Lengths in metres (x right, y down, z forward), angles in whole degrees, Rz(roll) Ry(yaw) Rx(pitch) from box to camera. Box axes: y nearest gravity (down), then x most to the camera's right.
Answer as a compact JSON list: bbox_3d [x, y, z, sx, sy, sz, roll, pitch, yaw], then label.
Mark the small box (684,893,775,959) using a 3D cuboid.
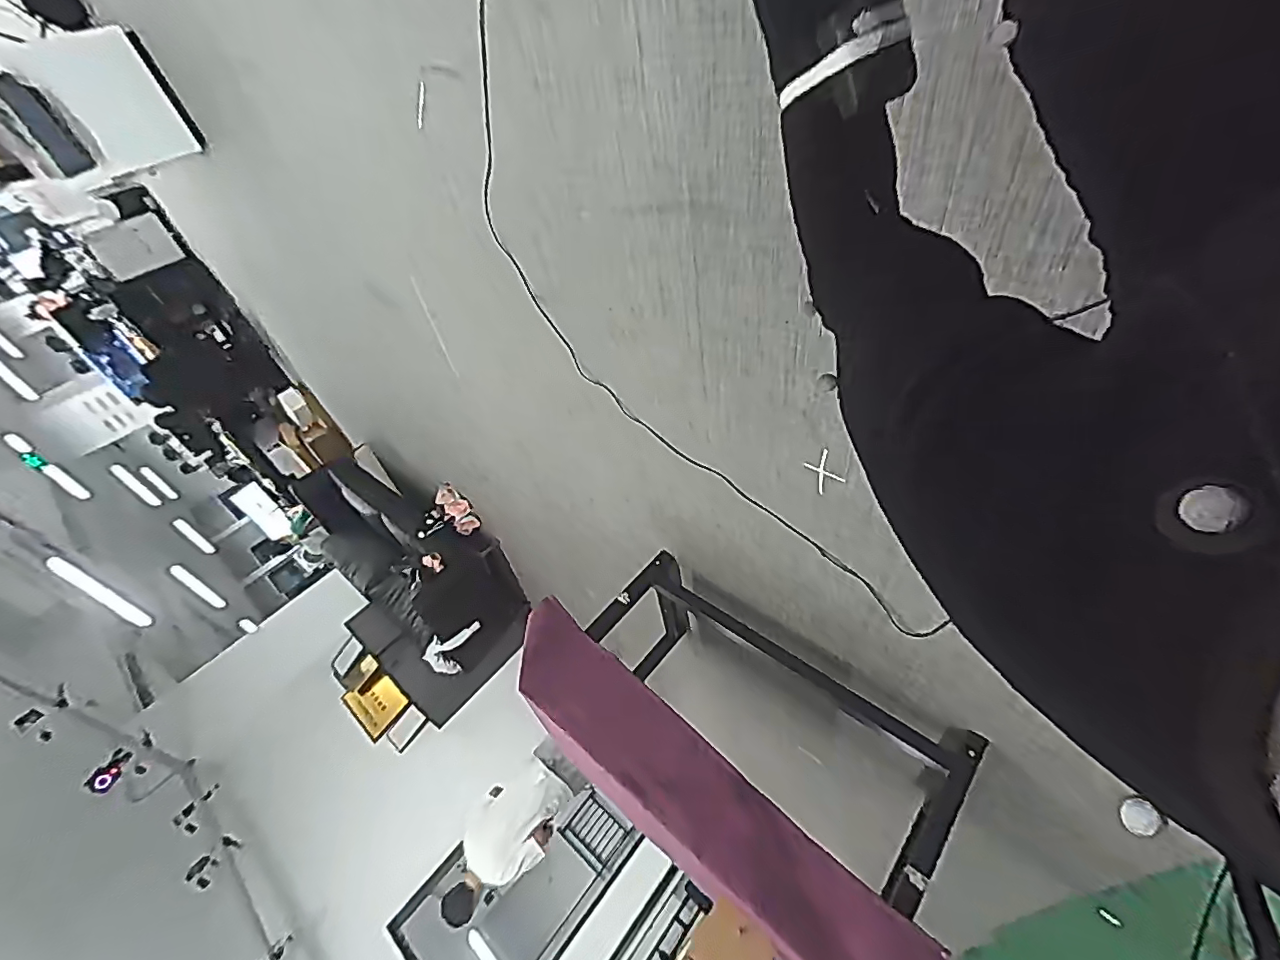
[{"bbox_3d":[0.246,1.267,1.470,0.179,0.176,0.168,26,146,35],"label":"small box"}]
